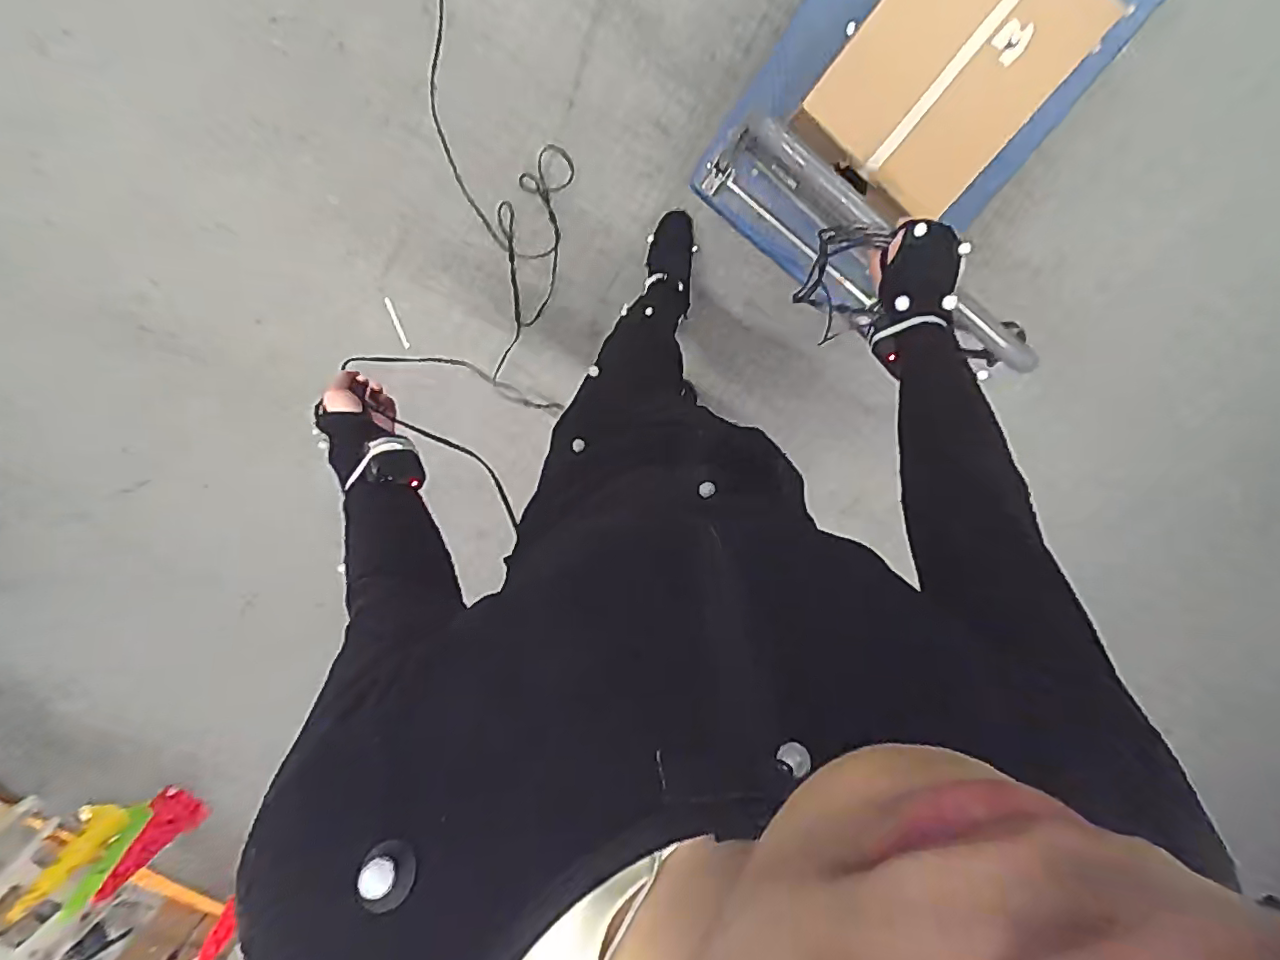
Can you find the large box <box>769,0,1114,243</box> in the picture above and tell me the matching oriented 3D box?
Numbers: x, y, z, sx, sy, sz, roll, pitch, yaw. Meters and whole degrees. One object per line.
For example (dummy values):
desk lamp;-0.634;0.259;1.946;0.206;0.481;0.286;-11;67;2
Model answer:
large box;0.508;-0.722;1.012;0.320;0.320;0.408;37;106;-12
